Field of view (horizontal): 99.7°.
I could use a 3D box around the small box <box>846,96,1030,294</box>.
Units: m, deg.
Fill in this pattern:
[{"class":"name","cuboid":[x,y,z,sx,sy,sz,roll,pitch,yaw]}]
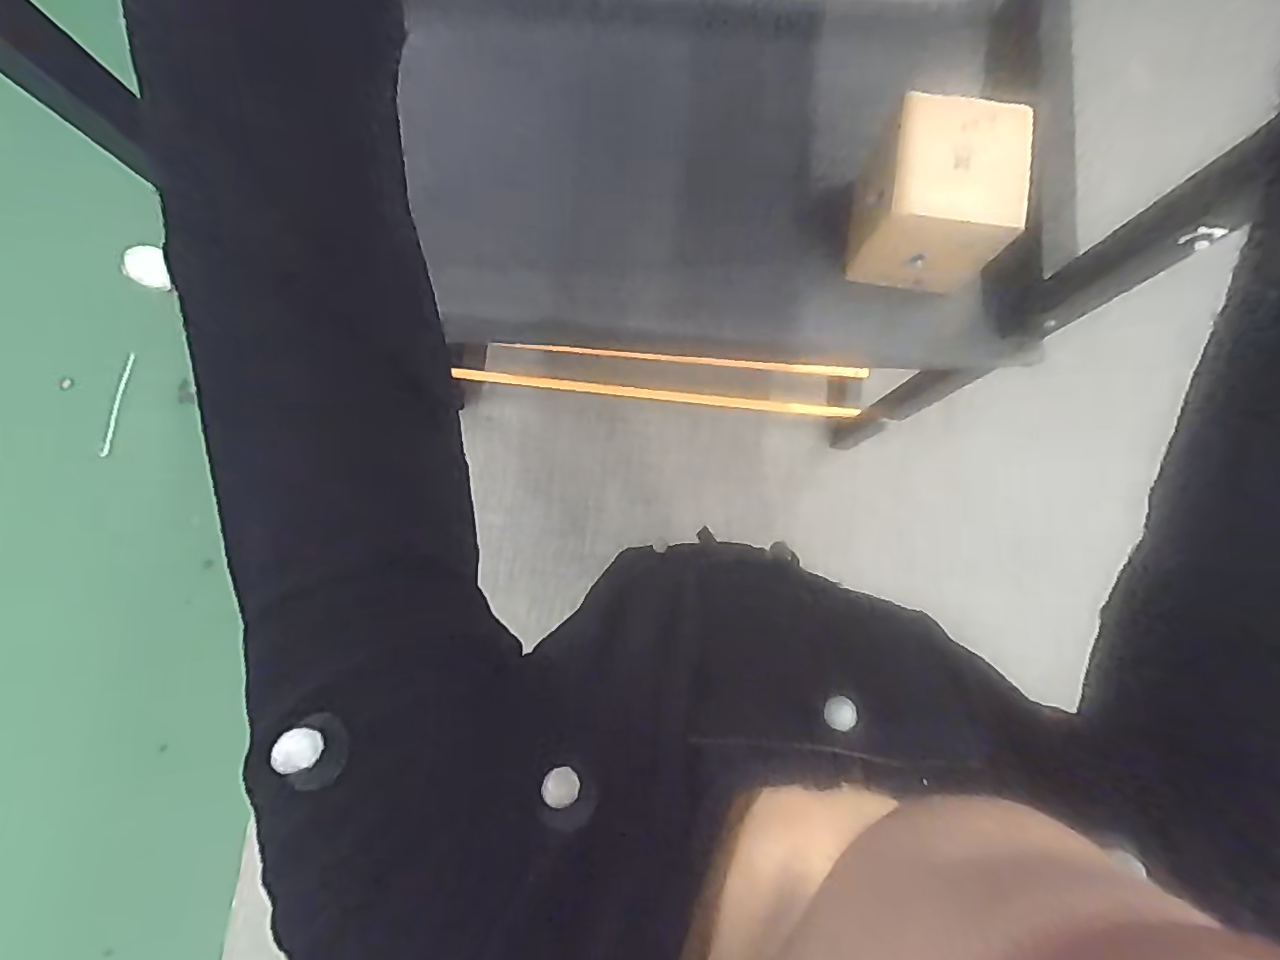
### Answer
[{"class":"small box","cuboid":[0.403,-0.386,0.759,0.168,0.176,0.179,10,81,3]}]
